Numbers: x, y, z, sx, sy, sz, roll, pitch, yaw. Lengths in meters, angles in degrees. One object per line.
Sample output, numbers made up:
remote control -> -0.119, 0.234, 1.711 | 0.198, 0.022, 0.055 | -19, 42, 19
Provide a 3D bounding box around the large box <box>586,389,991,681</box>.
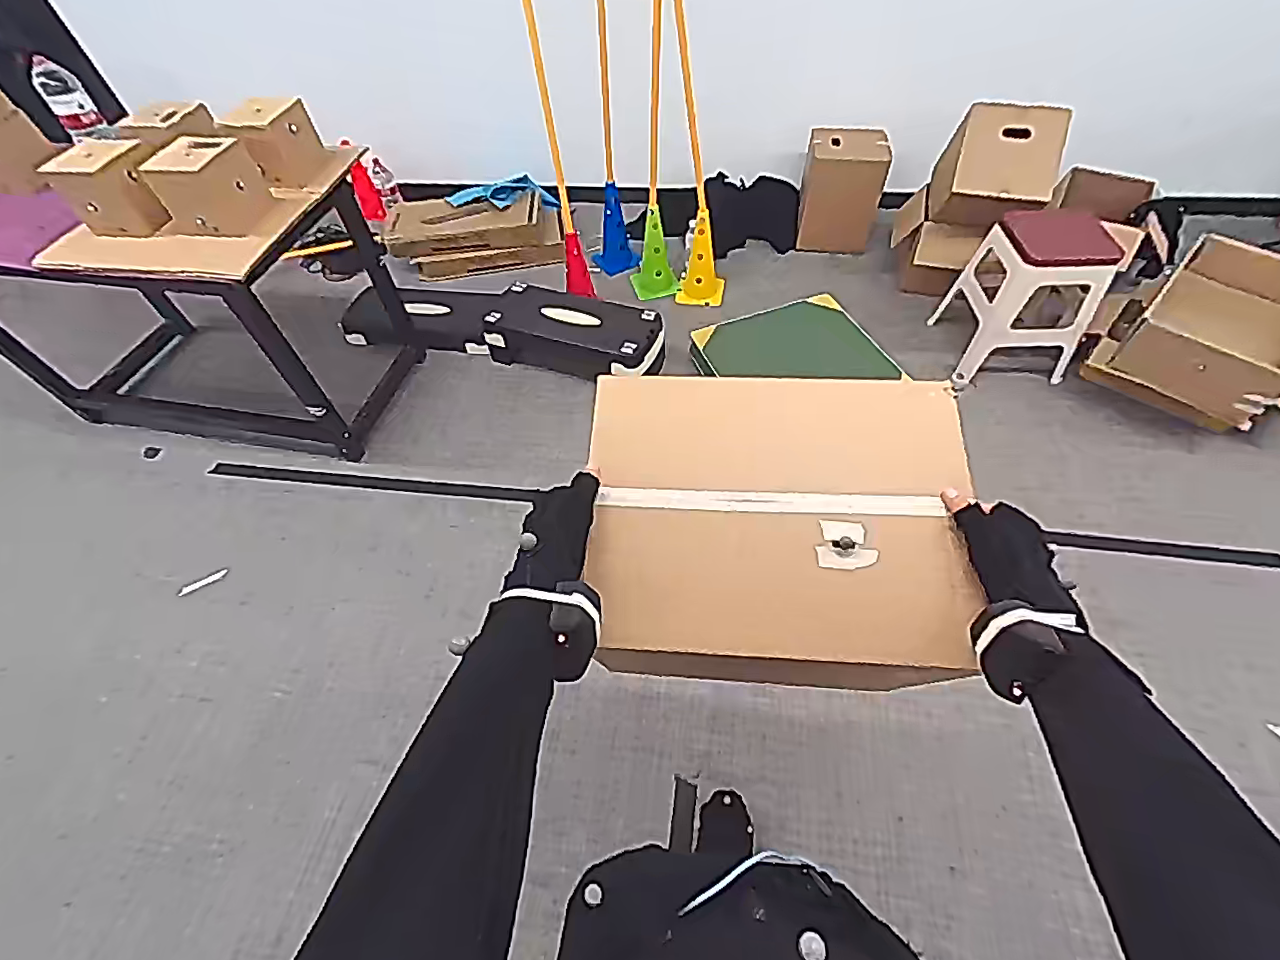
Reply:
large box -> 0.155, 0.091, 0.726 | 0.408, 0.320, 0.320 | 2, 67, 4
